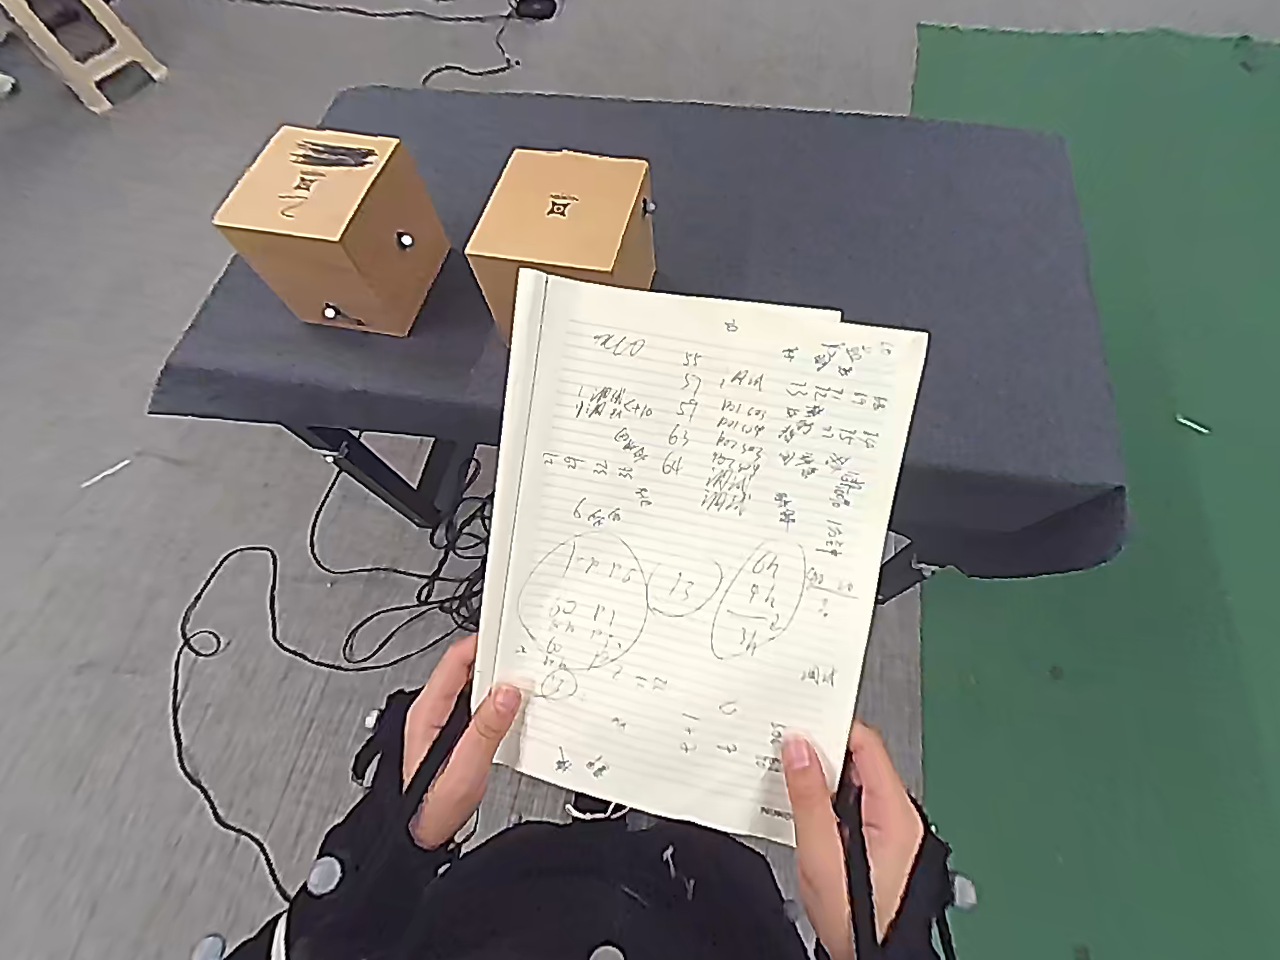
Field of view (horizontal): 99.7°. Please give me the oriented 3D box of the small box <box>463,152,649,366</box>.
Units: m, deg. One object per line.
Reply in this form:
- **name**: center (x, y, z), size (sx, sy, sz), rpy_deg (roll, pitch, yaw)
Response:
- **small box**: center (-0.085, -0.263, 0.663), size (0.168, 0.176, 0.179), rpy_deg (10, 66, 9)
